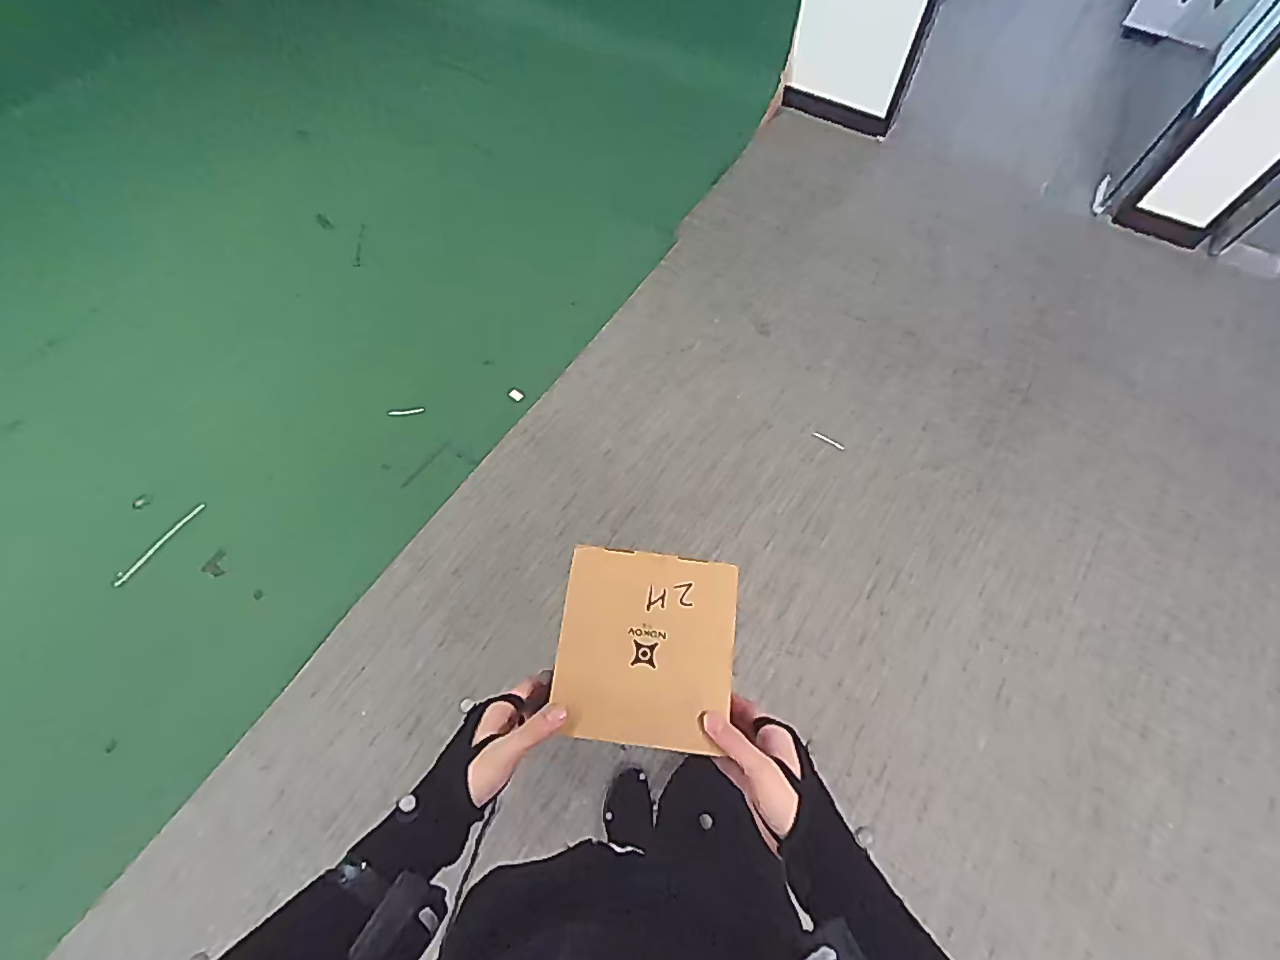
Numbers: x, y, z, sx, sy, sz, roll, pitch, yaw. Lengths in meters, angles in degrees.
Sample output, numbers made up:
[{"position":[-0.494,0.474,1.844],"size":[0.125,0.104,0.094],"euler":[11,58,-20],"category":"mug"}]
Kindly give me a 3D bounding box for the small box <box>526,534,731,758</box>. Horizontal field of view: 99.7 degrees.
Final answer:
[{"position":[-0.009,0.170,0.568],"size":[0.168,0.176,0.179],"euler":[9,72,0],"category":"small box"}]
